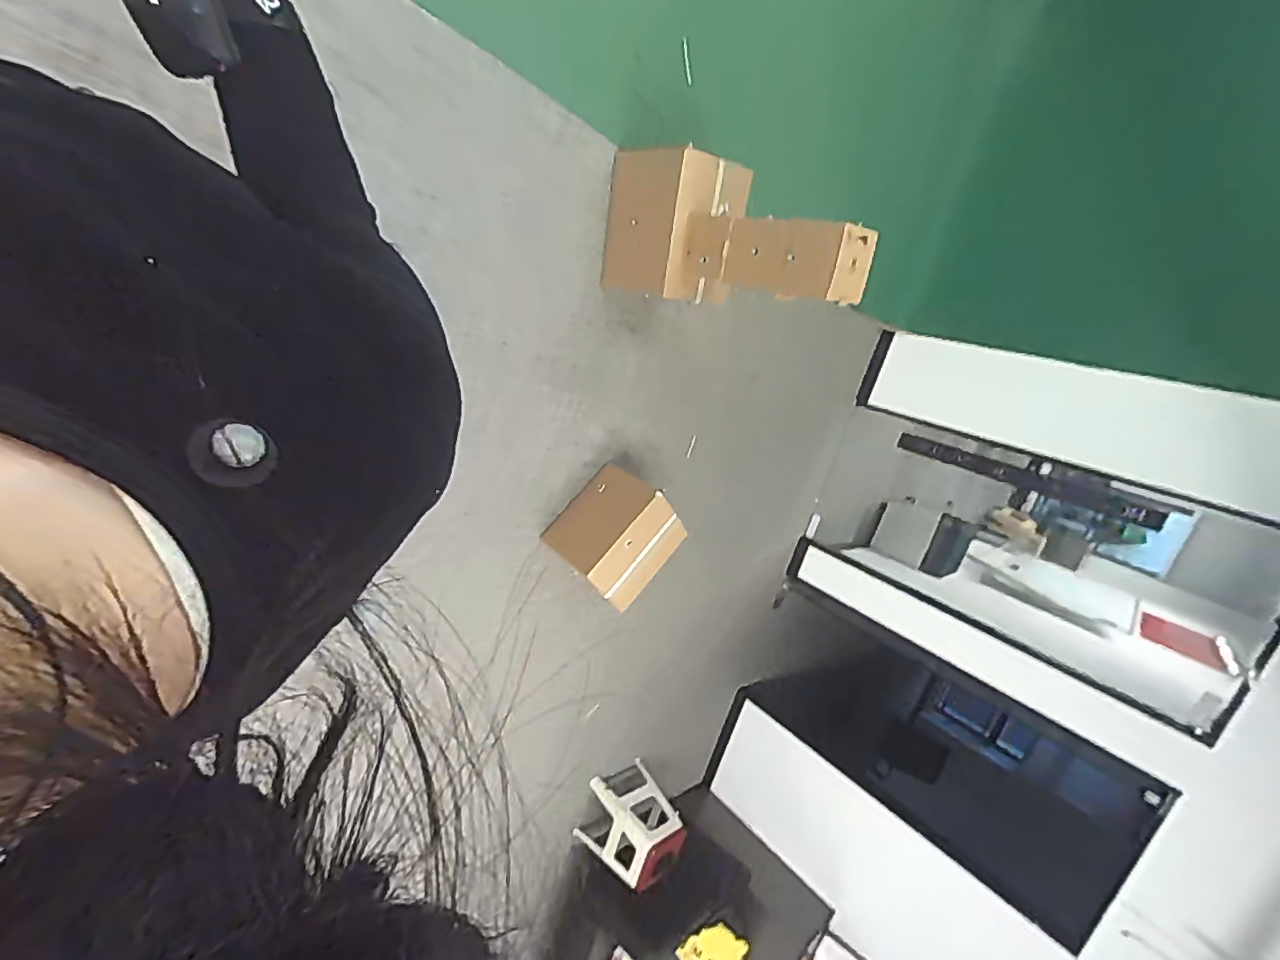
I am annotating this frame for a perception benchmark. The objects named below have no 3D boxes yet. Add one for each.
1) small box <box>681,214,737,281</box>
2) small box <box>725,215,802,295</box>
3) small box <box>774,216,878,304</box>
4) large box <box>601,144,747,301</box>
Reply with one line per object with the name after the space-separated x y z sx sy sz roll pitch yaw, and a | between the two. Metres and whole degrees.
0.244 -0.676 1.583 0.179 0.176 0.168 -11 119 -42 | small box
0.354 -0.614 1.479 0.168 0.176 0.179 -12 120 -41 | small box
0.465 -0.557 1.372 0.168 0.176 0.179 -11 120 -41 | small box
0.098 -0.805 1.736 0.320 0.320 0.408 -13 119 -42 | large box
